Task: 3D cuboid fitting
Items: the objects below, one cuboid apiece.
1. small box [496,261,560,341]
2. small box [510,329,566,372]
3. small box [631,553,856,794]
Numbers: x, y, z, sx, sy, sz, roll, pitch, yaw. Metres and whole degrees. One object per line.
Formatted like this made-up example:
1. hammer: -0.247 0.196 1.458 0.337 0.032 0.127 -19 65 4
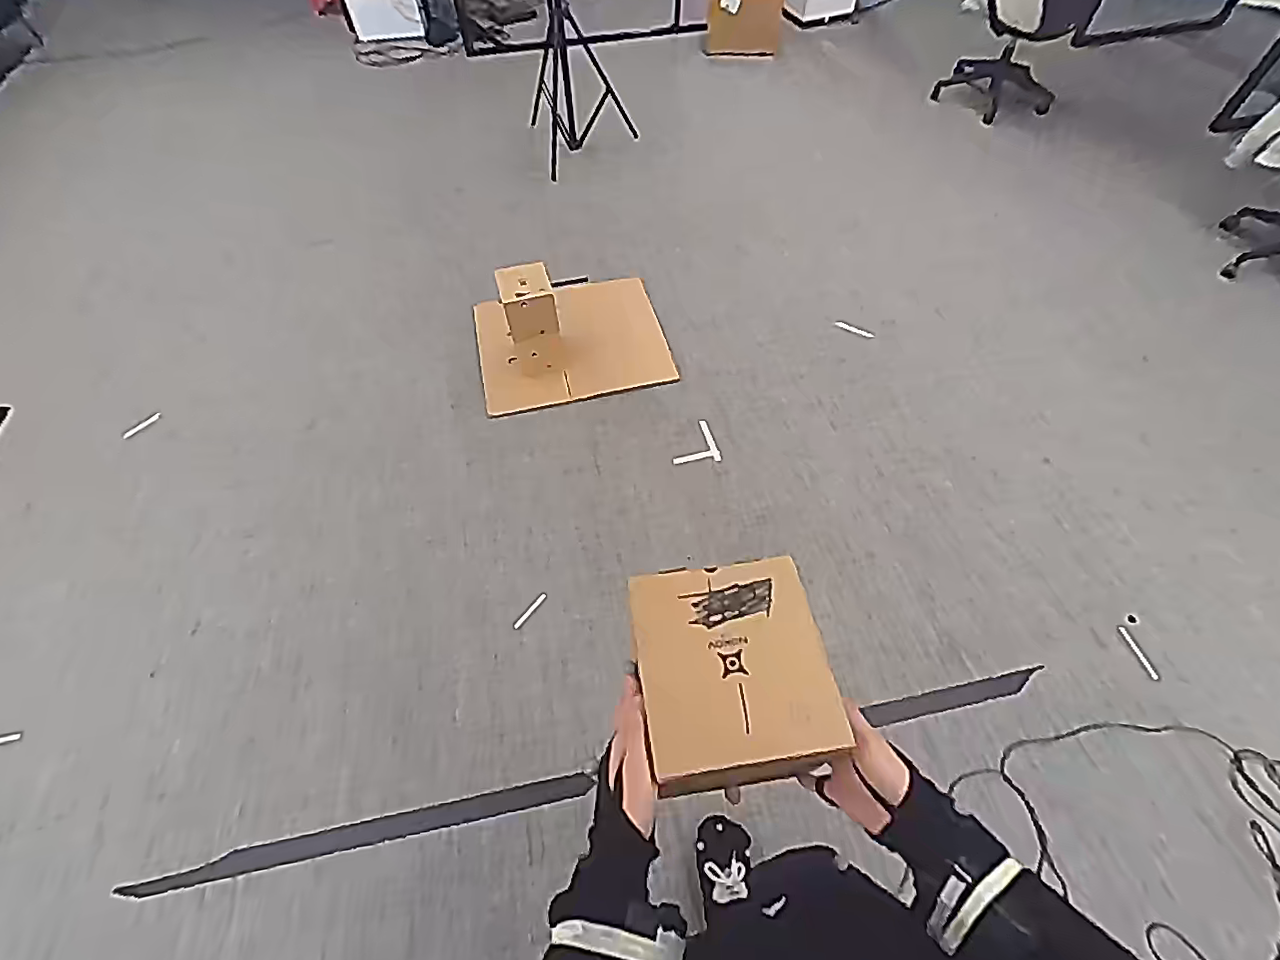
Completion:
1. small box: -0.375 -0.599 1.816 0.168 0.176 0.179 -15 58 -8
2. small box: -0.371 -0.509 1.954 0.168 0.176 0.179 -14 58 -8
3. small box: 0.081 0.195 0.538 0.168 0.176 0.179 -7 55 -5
